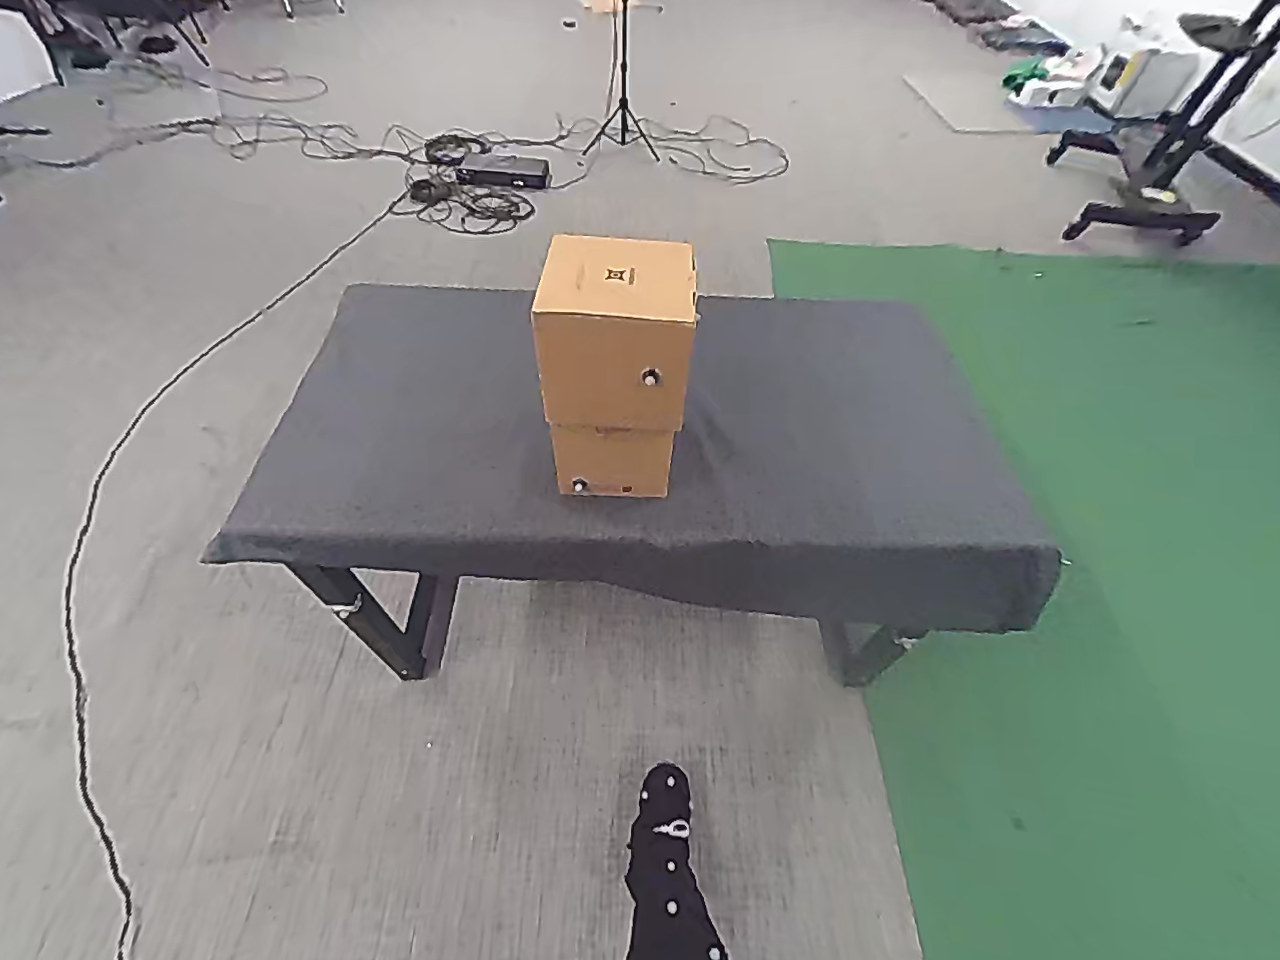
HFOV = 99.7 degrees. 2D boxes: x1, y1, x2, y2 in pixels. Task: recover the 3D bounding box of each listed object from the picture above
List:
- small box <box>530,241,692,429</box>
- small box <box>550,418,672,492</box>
[{"bbox_3d":[-0.030,-0.179,0.687,0.179,0.176,0.168,2,51,1],"label":"small box"},{"bbox_3d":[-0.041,-0.092,0.824,0.168,0.176,0.179,-1,53,-3],"label":"small box"}]
